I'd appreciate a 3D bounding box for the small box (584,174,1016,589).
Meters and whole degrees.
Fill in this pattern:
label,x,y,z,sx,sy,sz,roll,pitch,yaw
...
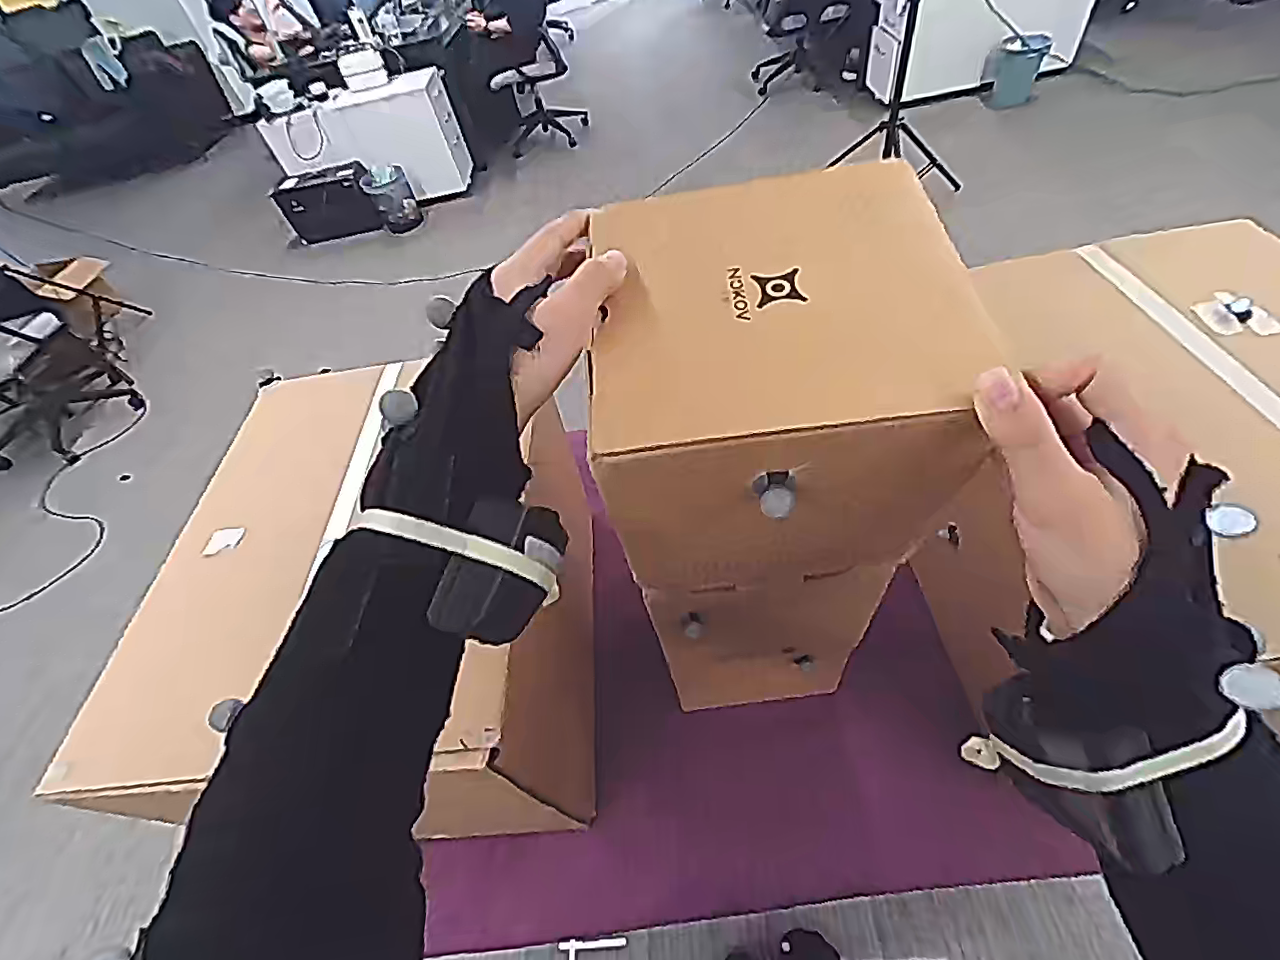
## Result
label,x,y,z,sx,sy,sz,roll,pitch,yaw
small box,0.070,-0.045,0.326,0.179,0.176,0.168,-7,57,6

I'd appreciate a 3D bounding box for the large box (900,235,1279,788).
label,x,y,z,sx,sy,sz,roll,pitch,yaw
large box,0.463,0.030,0.525,0.320,0.320,0.408,-9,49,5
